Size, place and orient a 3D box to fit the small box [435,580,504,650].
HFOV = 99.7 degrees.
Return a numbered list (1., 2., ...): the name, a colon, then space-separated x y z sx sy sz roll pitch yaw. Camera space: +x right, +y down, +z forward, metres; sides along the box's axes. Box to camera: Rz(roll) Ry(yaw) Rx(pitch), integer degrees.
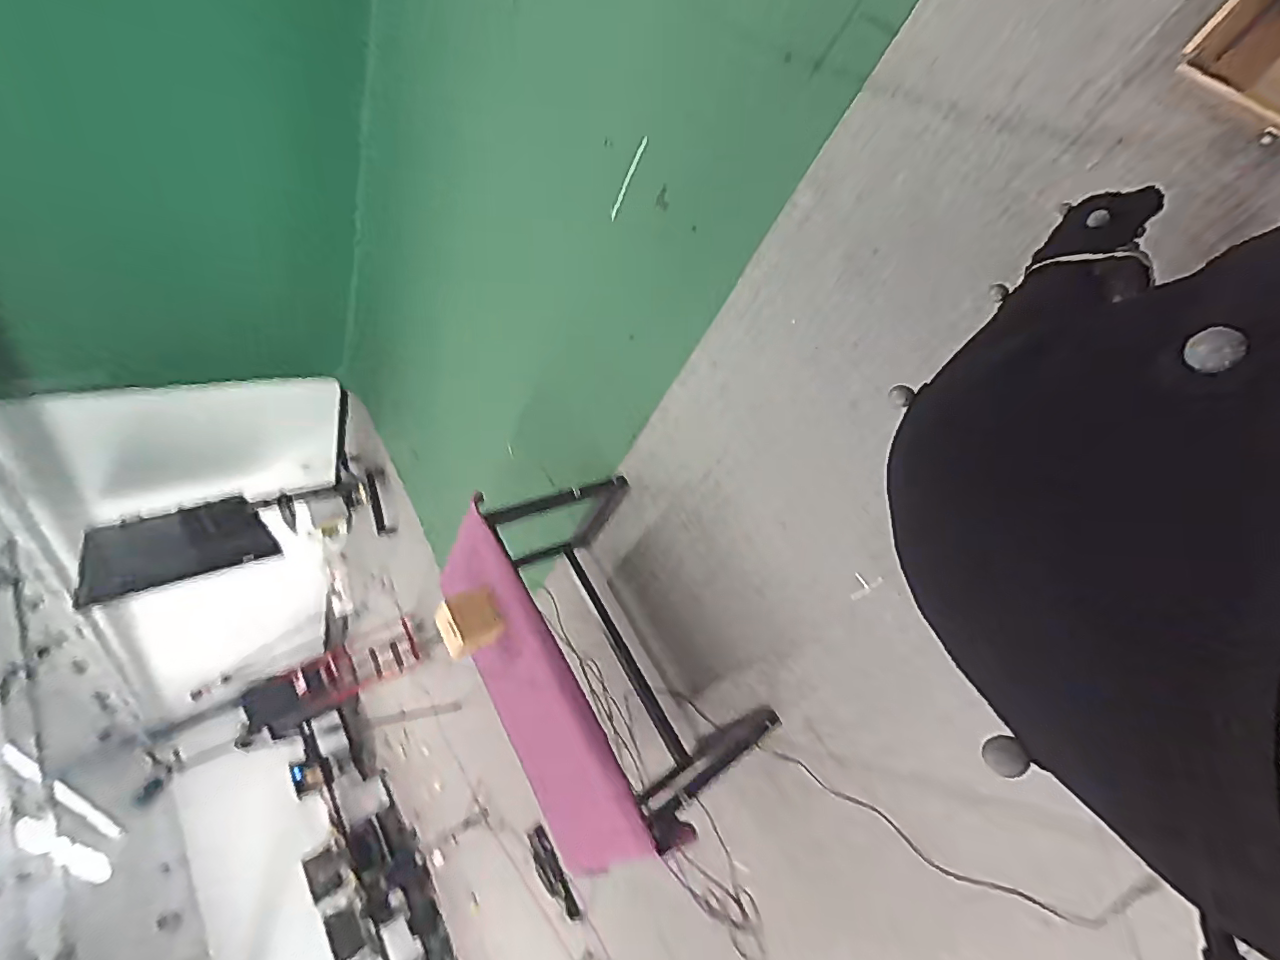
1. small box: -0.605 0.477 1.931 0.179 0.176 0.168 -47 66 45
